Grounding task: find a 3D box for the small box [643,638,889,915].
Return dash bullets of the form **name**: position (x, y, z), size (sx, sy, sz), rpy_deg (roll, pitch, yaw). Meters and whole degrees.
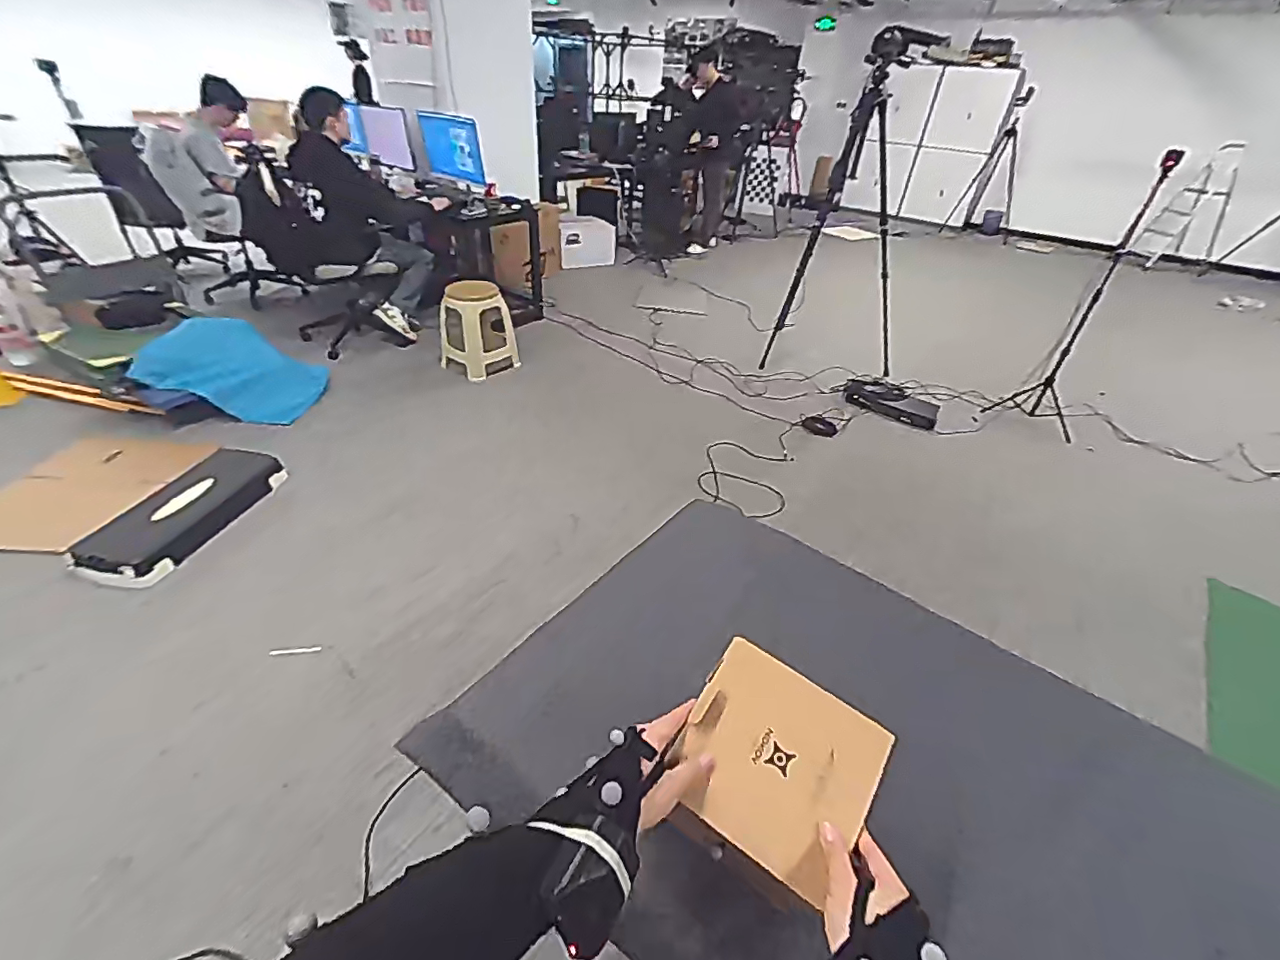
- **small box**: position (0.115, 0.302, 0.558), size (0.179, 0.176, 0.168), rpy_deg (30, 58, 17)
